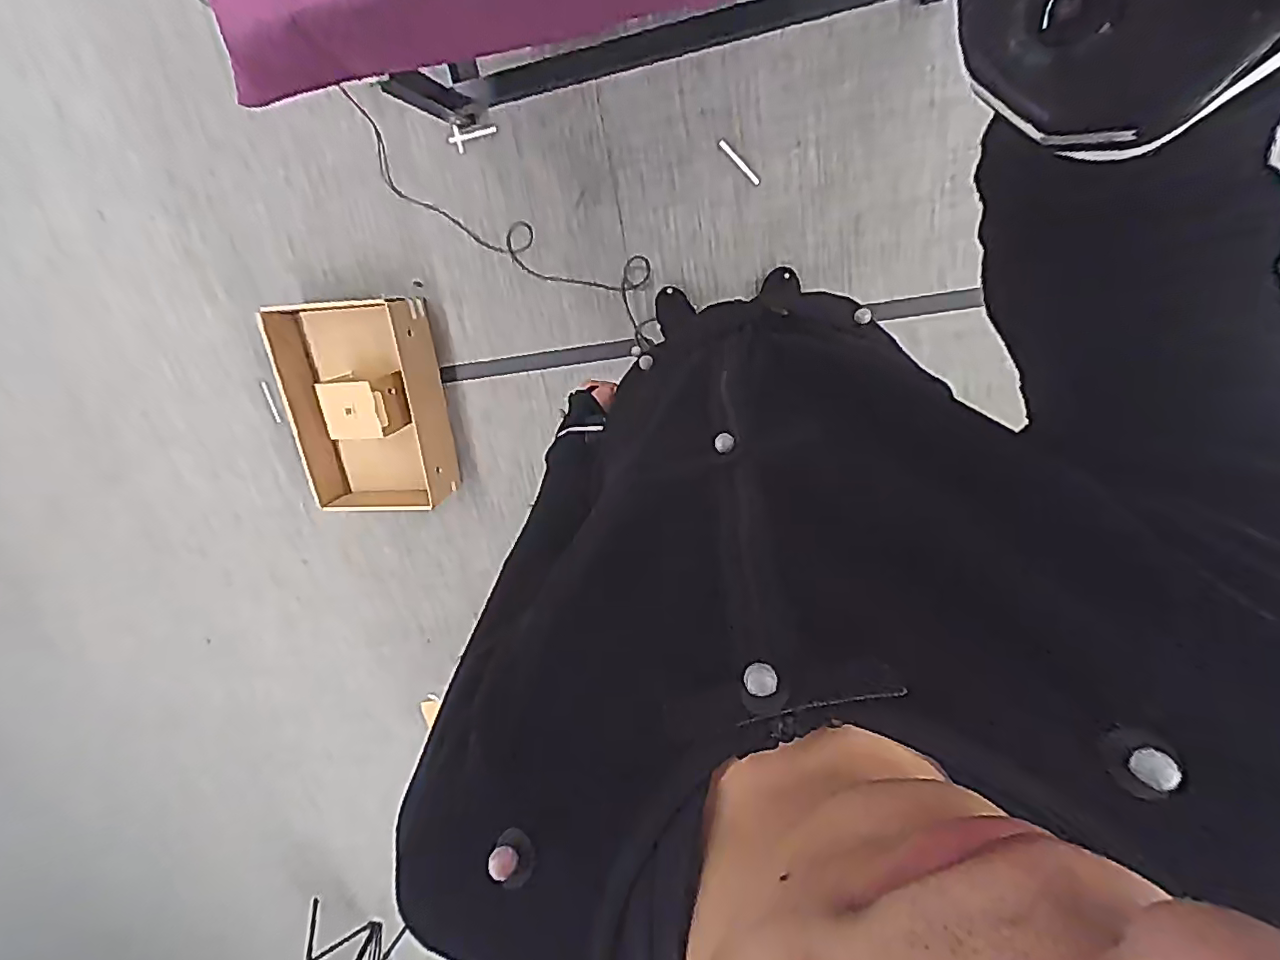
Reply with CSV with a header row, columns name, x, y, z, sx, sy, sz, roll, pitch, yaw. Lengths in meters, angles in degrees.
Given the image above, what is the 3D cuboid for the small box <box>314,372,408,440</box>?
name,x,y,z,sx,sy,sz,roll,pitch,yaw
small box,-0.812,-0.222,1.601,0.179,0.176,0.168,-1,111,9
